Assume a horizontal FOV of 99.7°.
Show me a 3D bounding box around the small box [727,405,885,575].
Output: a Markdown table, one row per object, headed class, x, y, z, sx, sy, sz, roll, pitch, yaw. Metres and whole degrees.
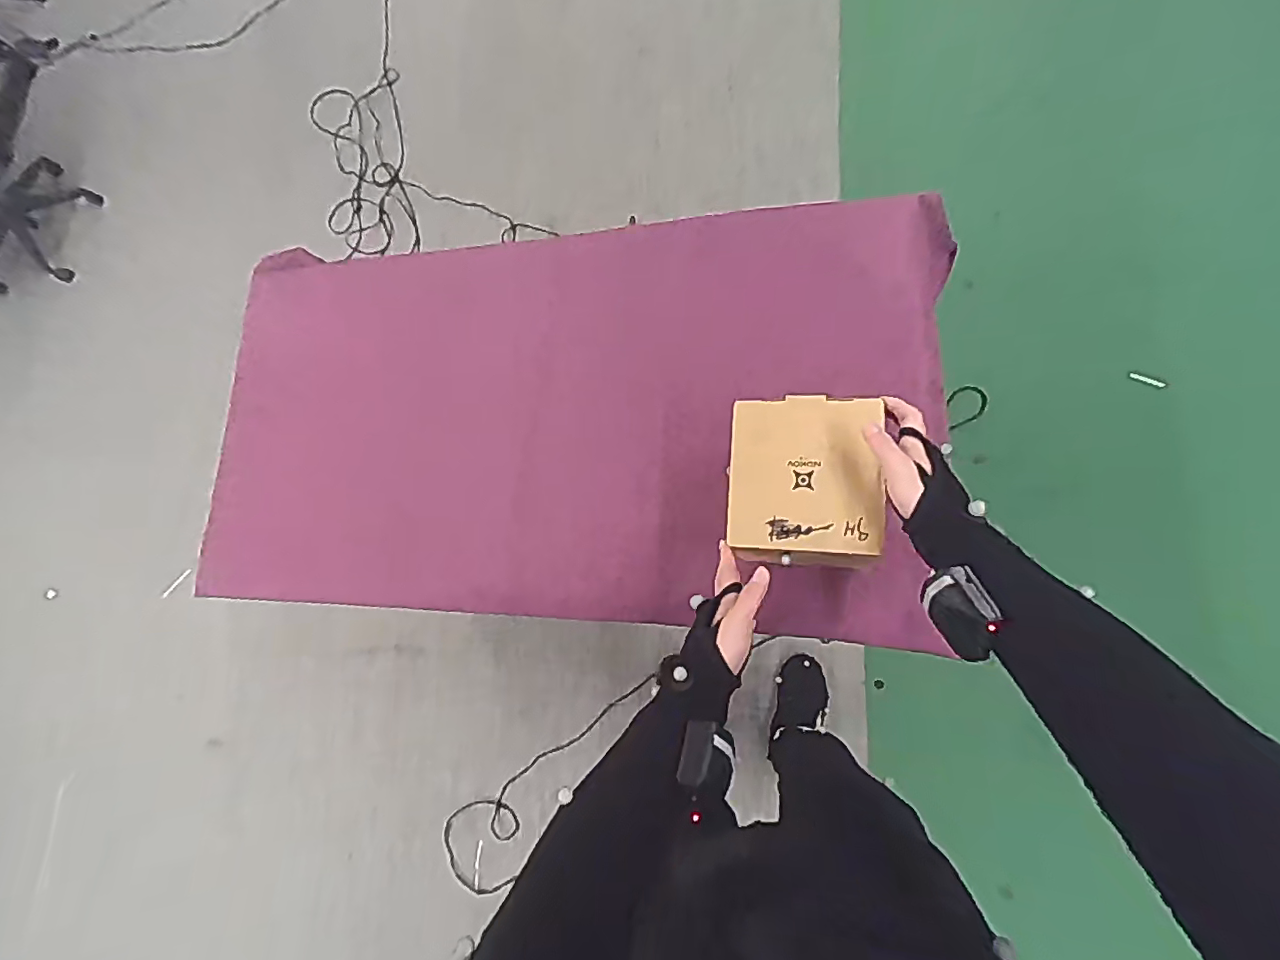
| class | x | y | z | sx | sy | sz | roll | pitch | yaw |
| --- | --- | --- | --- | --- | --- | --- | --- | --- | --- |
| small box | 0.205 | 0.019 | 0.675 | 0.168 | 0.176 | 0.179 | 2 | 77 | 18 |
